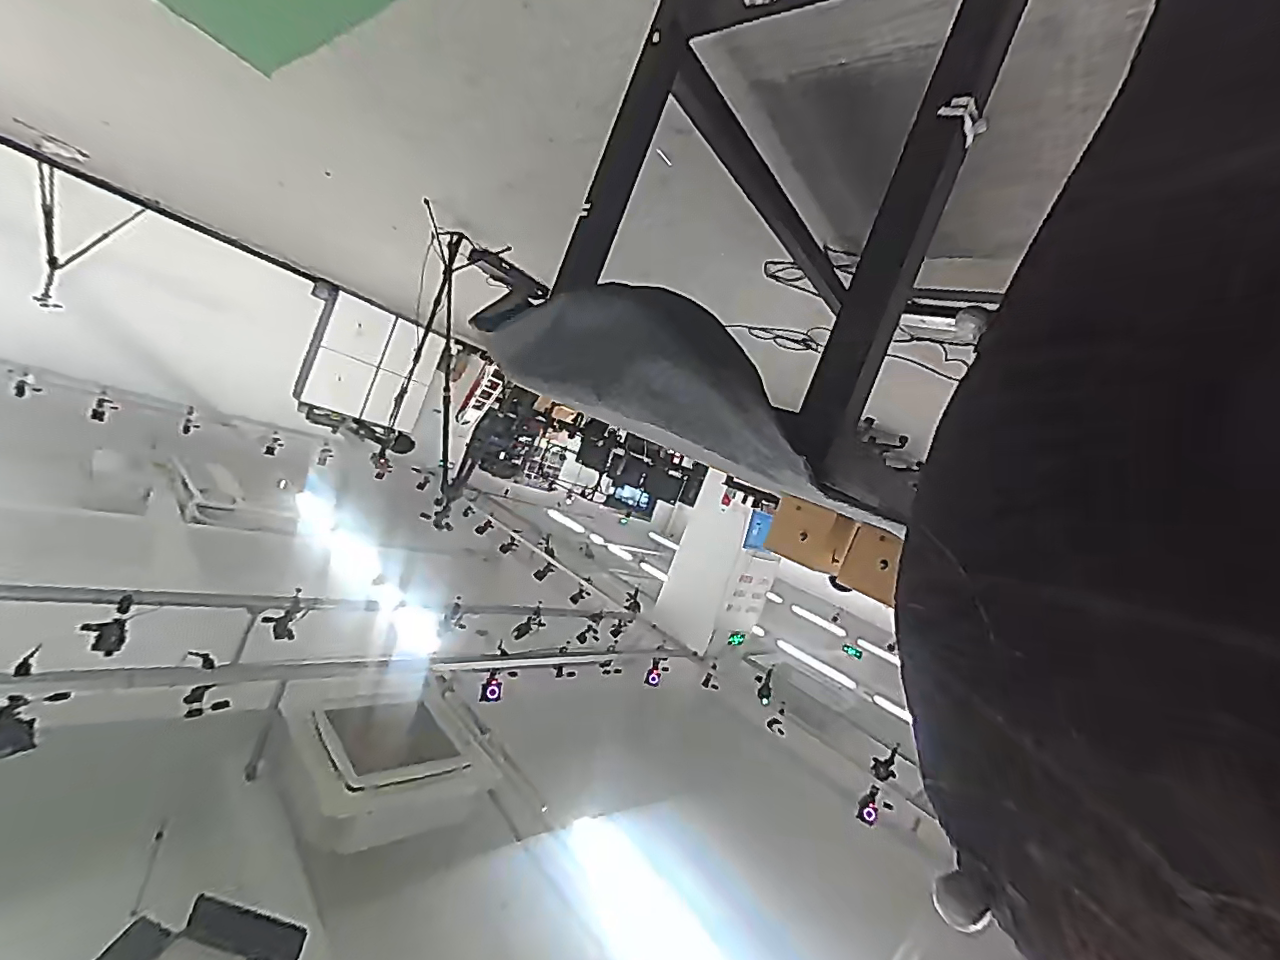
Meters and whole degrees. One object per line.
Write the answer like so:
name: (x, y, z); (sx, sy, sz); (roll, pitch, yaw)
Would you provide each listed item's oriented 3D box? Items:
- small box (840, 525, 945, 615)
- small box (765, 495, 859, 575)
small box: (0.637, 0.222, 1.358); (0.168, 0.176, 0.179); (25, -176, 41)
small box: (0.480, 0.150, 1.502); (0.168, 0.176, 0.179); (22, -177, 42)
